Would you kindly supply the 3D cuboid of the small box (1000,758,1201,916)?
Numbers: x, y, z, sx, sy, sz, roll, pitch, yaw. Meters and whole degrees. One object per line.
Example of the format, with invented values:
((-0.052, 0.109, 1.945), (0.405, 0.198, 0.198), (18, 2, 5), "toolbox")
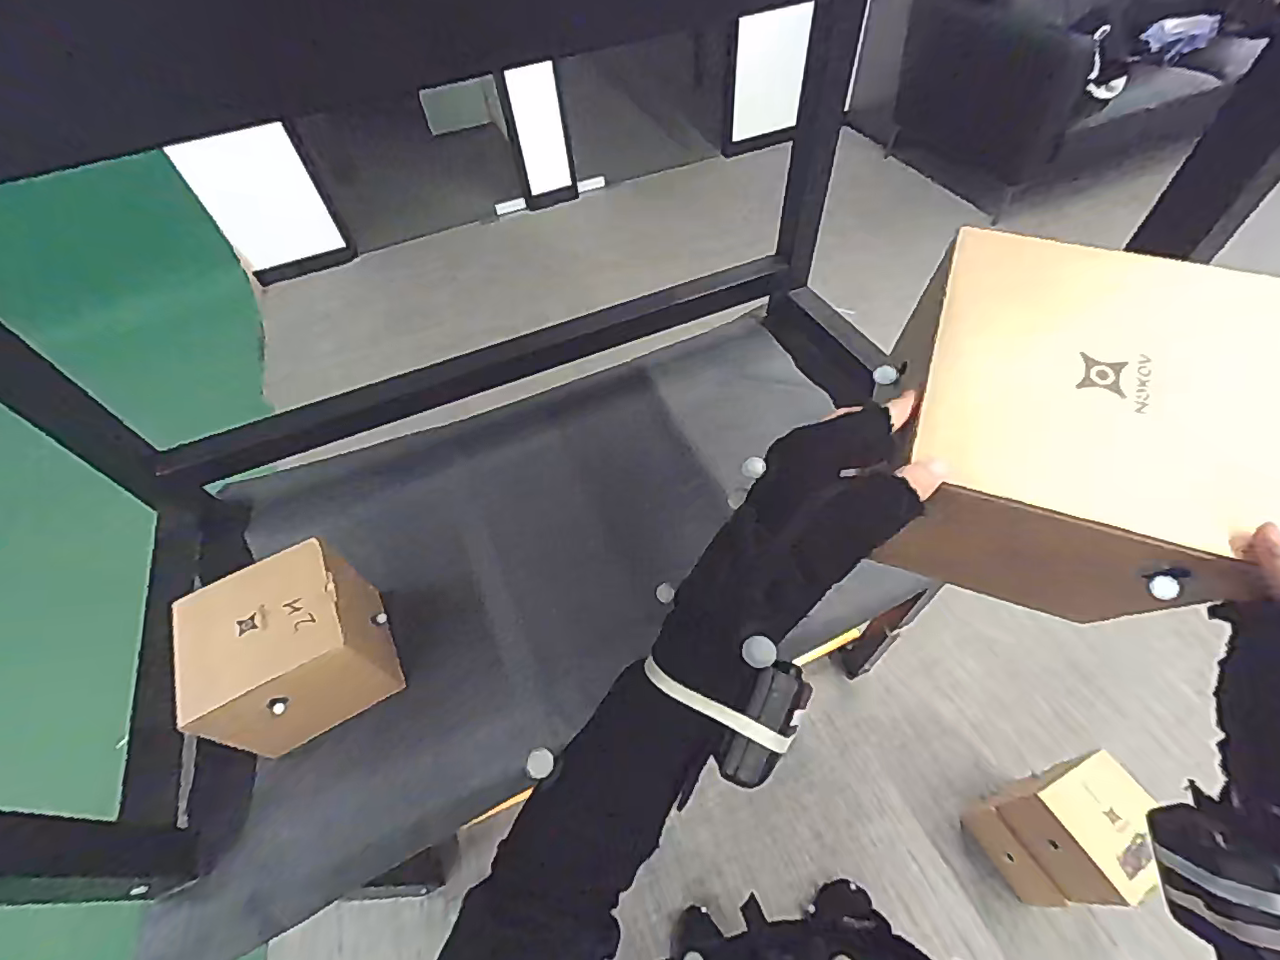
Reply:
((0.803, 0.633, 0.966), (0.168, 0.176, 0.179), (-23, 54, -12), "small box")

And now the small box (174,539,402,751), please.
((-0.435, 0.213, 0.684), (0.179, 0.176, 0.168), (-26, 56, -14), "small box")
